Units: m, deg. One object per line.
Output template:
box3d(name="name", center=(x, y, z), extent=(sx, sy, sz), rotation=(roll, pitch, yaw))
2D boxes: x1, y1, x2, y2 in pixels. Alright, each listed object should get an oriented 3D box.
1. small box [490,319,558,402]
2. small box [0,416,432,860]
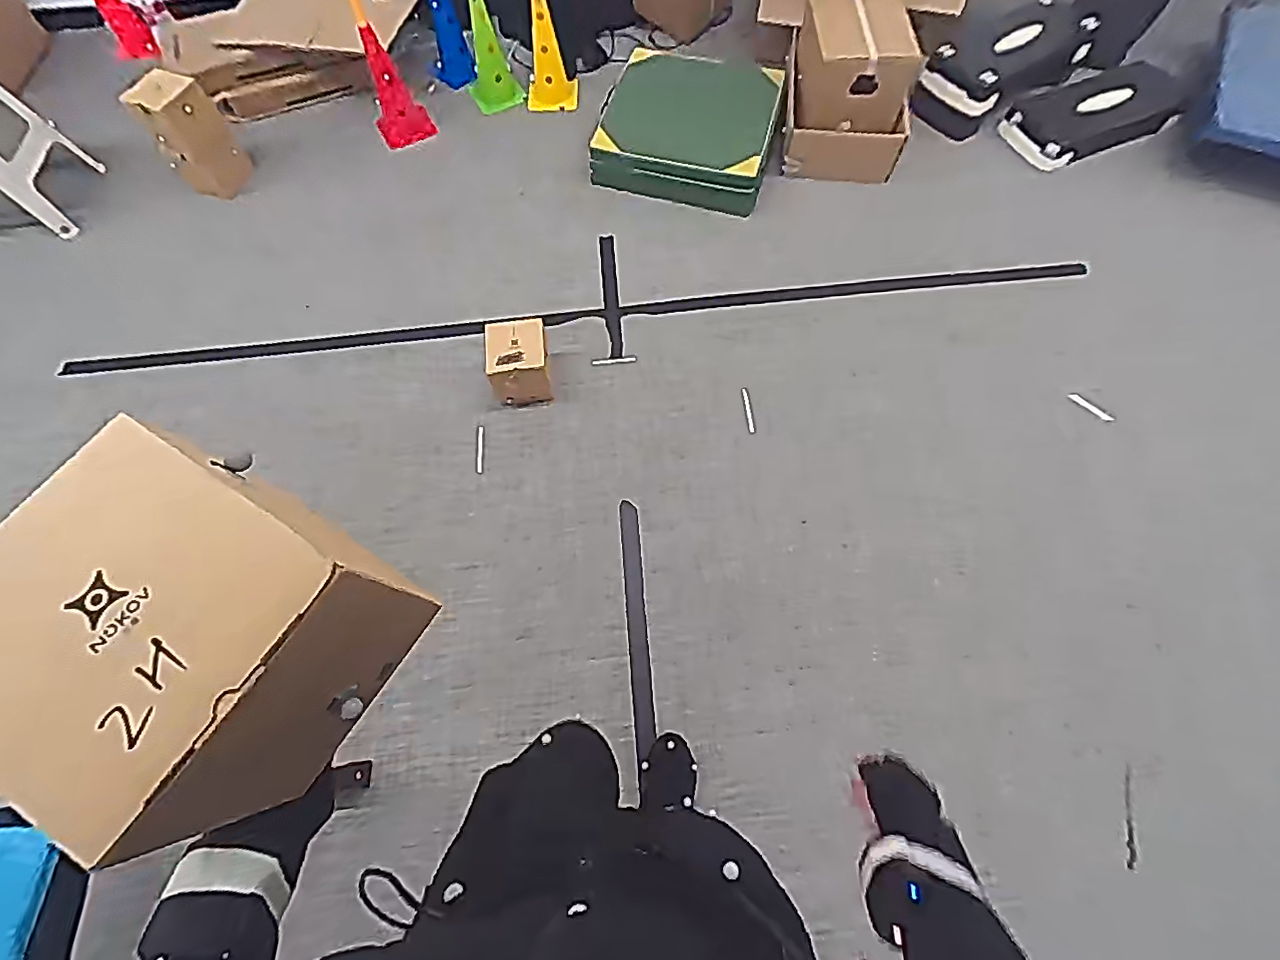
box3d(name="small box", center=(-0.340, -0.346, 1.604), extent=(0.168, 0.176, 0.179), rotation=(-7, 66, -1))
box3d(name="small box", center=(-0.278, 0.095, 0.361), extent=(0.179, 0.176, 0.168), rotation=(35, 74, 8))
